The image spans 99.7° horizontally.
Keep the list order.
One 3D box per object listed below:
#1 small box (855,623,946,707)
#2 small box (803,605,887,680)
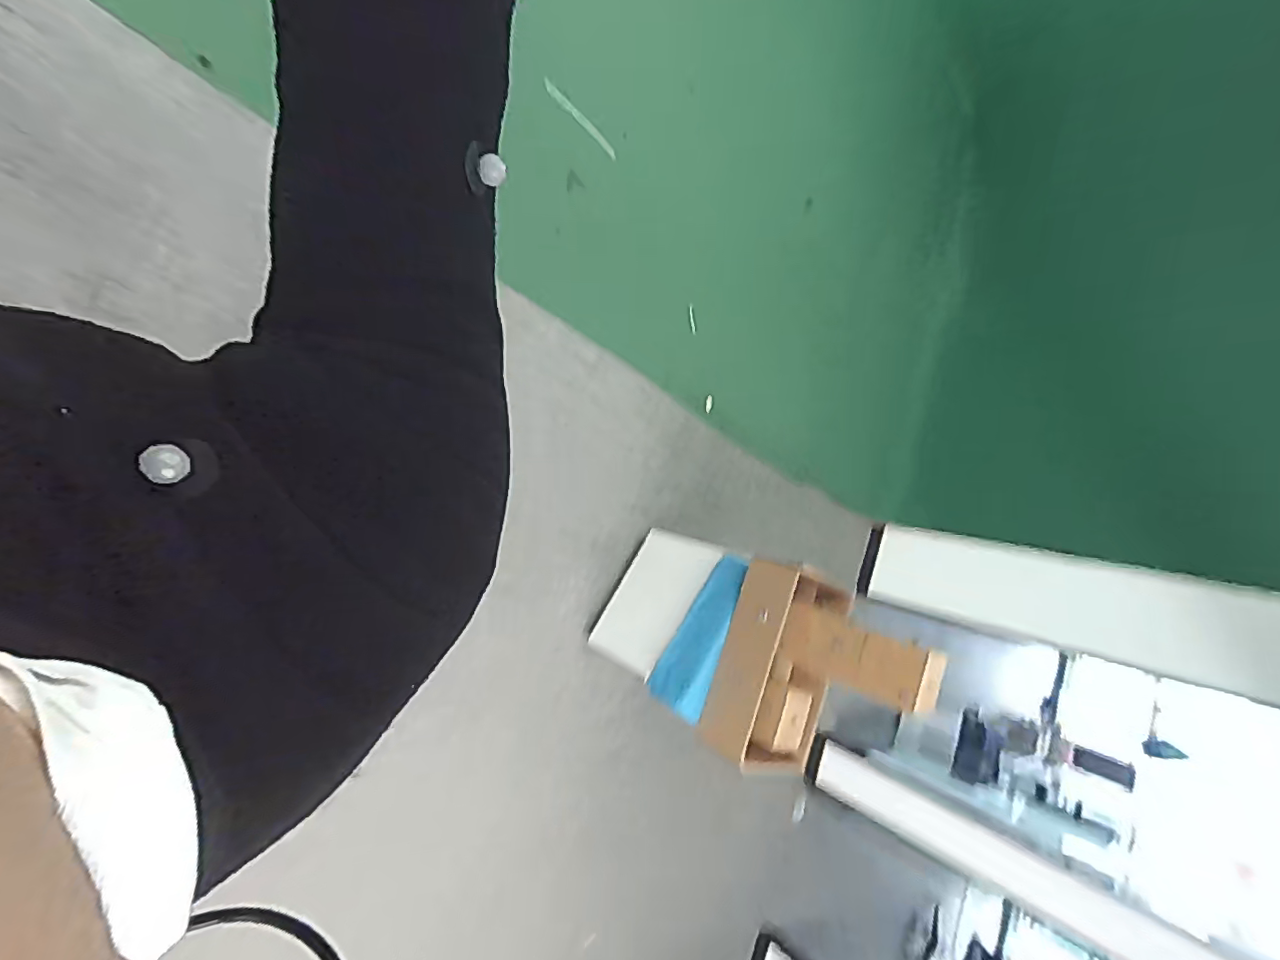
[{"bbox_3d":[0.732,0.517,1.528,0.168,0.176,0.179,19,87,-43],"label":"small box"},{"bbox_3d":[0.622,0.492,1.647,0.168,0.176,0.179,20,85,-42],"label":"small box"}]
